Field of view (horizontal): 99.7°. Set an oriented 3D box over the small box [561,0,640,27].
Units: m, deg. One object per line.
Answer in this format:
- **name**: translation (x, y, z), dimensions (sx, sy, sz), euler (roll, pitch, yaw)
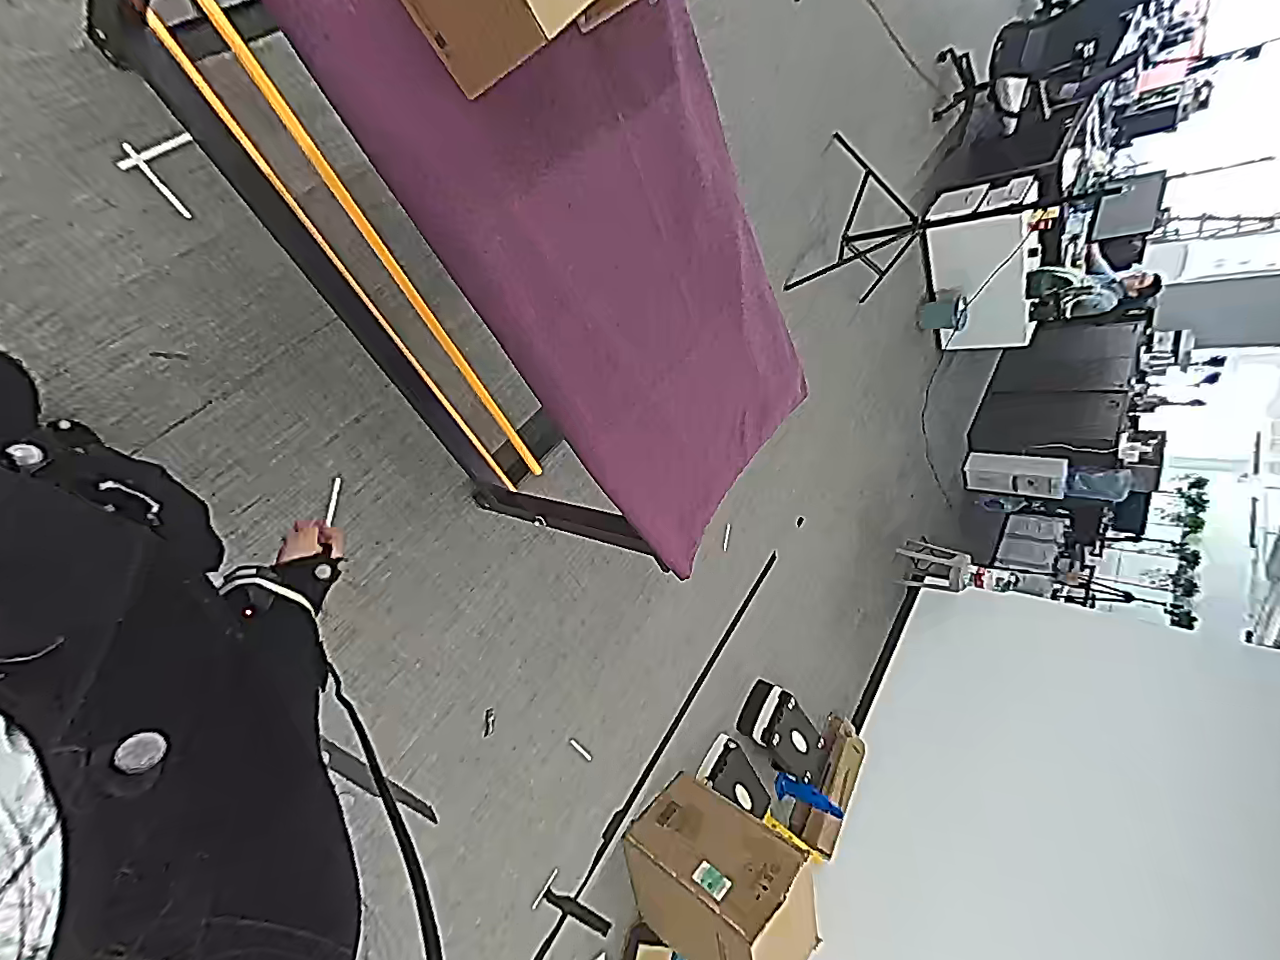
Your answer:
- **small box**: translation (-0.029, -0.751, 0.720), dimensions (0.168, 0.176, 0.179), euler (-54, 131, -26)
